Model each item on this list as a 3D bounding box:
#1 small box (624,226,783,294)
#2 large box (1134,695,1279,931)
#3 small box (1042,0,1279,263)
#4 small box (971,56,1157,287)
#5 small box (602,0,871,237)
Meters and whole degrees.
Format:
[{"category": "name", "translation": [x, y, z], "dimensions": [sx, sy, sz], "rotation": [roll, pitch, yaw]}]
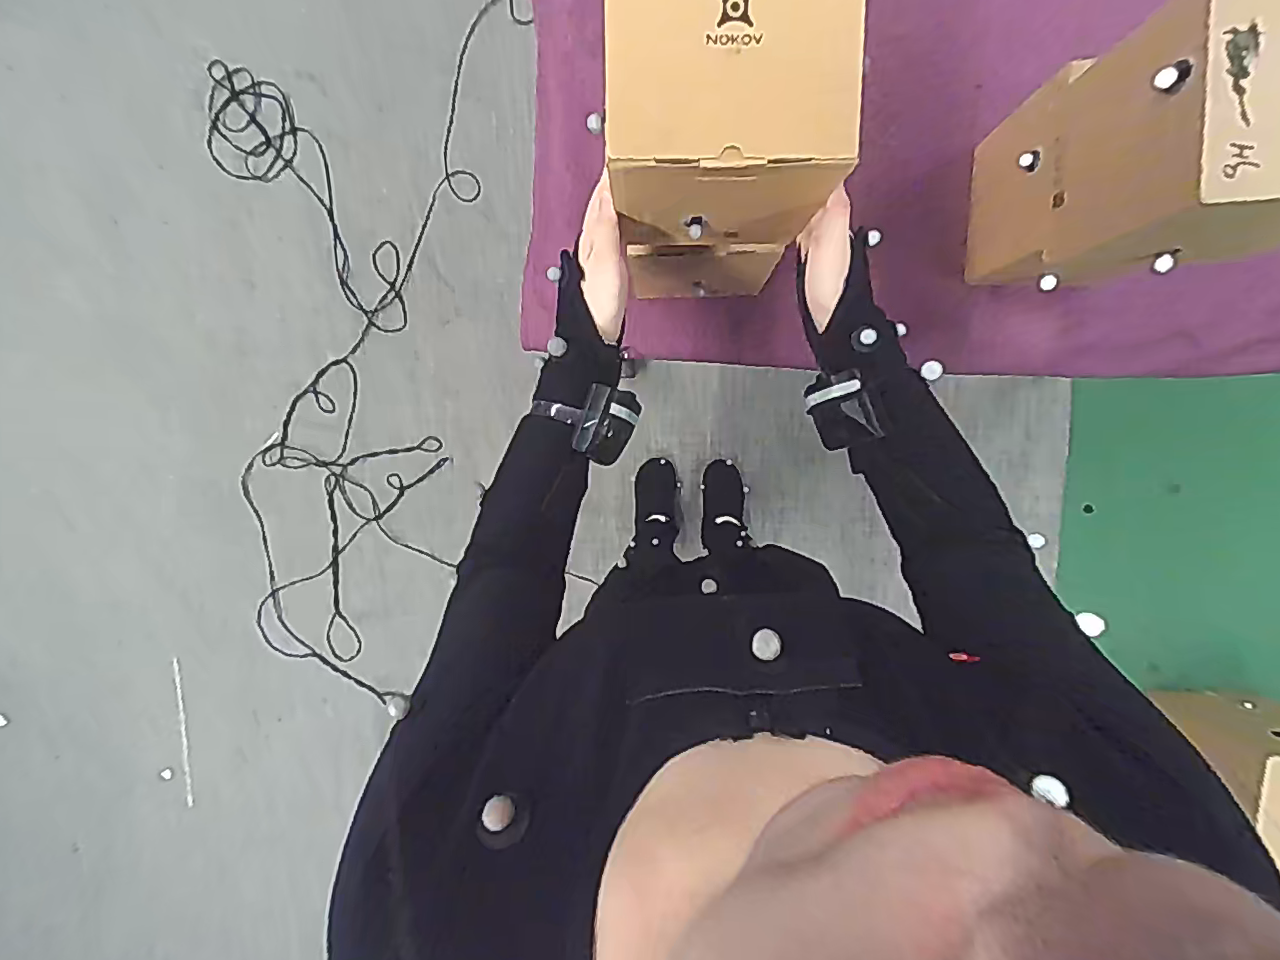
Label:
[{"category": "small box", "translation": [0.068, -0.328, 0.629], "dimensions": [0.168, 0.176, 0.179], "rotation": [-1, 94, 3]}, {"category": "large box", "translation": [1.515, 0.791, 1.325], "dimensions": [0.320, 0.320, 0.408], "rotation": [2, 96, 3]}, {"category": "small box", "translation": [0.486, -0.290, 0.450], "dimensions": [0.179, 0.176, 0.168], "rotation": [-1, 95, 3]}, {"category": "small box", "translation": [0.503, -0.331, 0.609], "dimensions": [0.168, 0.176, 0.179], "rotation": [1, 95, 3]}, {"category": "small box", "translation": [0.057, -0.301, 0.406], "dimensions": [0.168, 0.176, 0.179], "rotation": [0, 98, 0]}]
